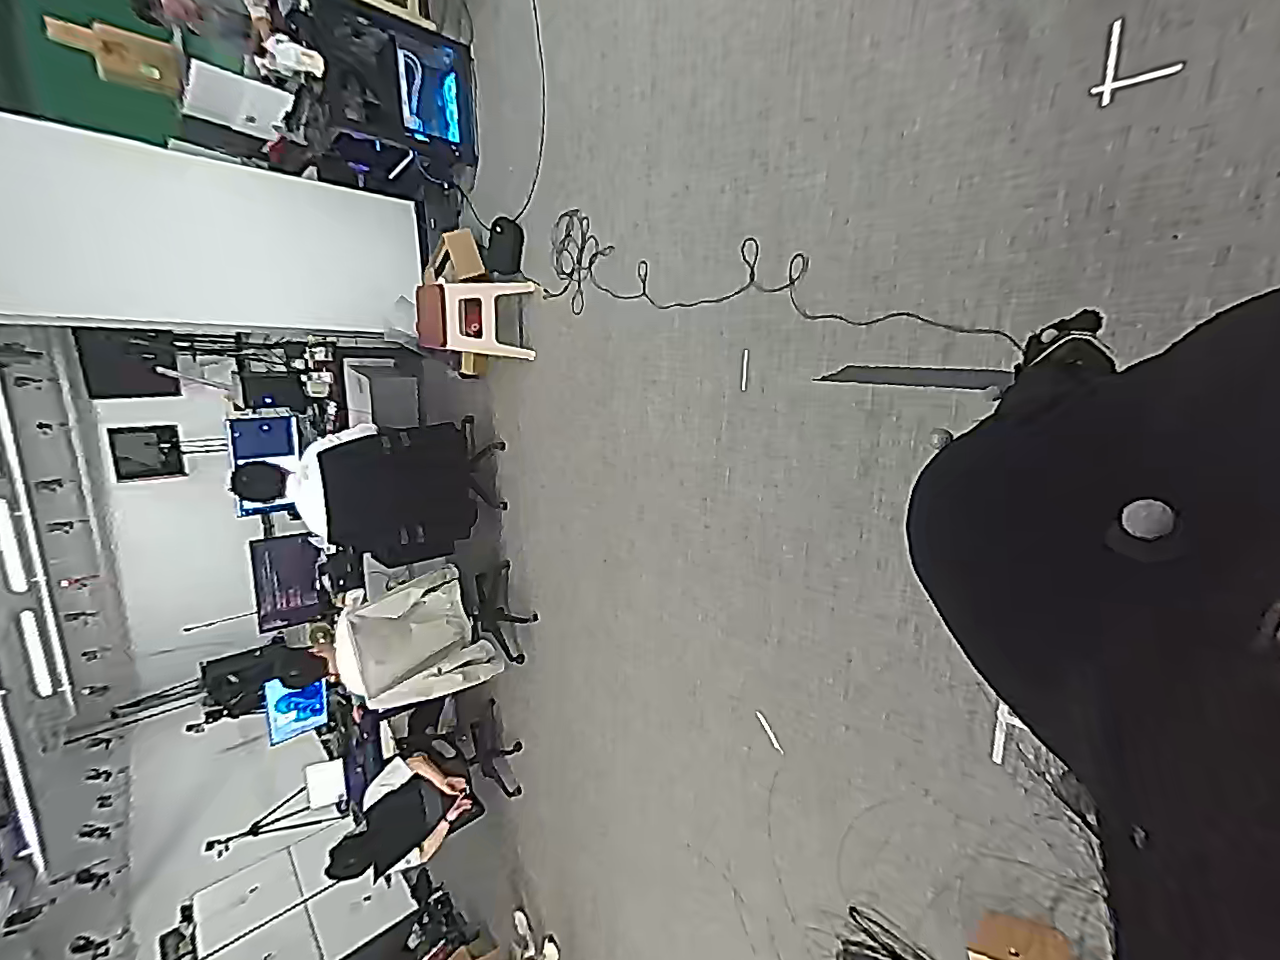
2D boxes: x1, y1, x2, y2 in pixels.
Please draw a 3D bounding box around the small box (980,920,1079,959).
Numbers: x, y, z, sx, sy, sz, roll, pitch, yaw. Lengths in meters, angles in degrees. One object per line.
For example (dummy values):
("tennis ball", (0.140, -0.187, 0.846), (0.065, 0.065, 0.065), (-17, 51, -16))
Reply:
("small box", (0.999, 1.263, 1.358), (0.179, 0.176, 0.168), (-23, 80, 49))
